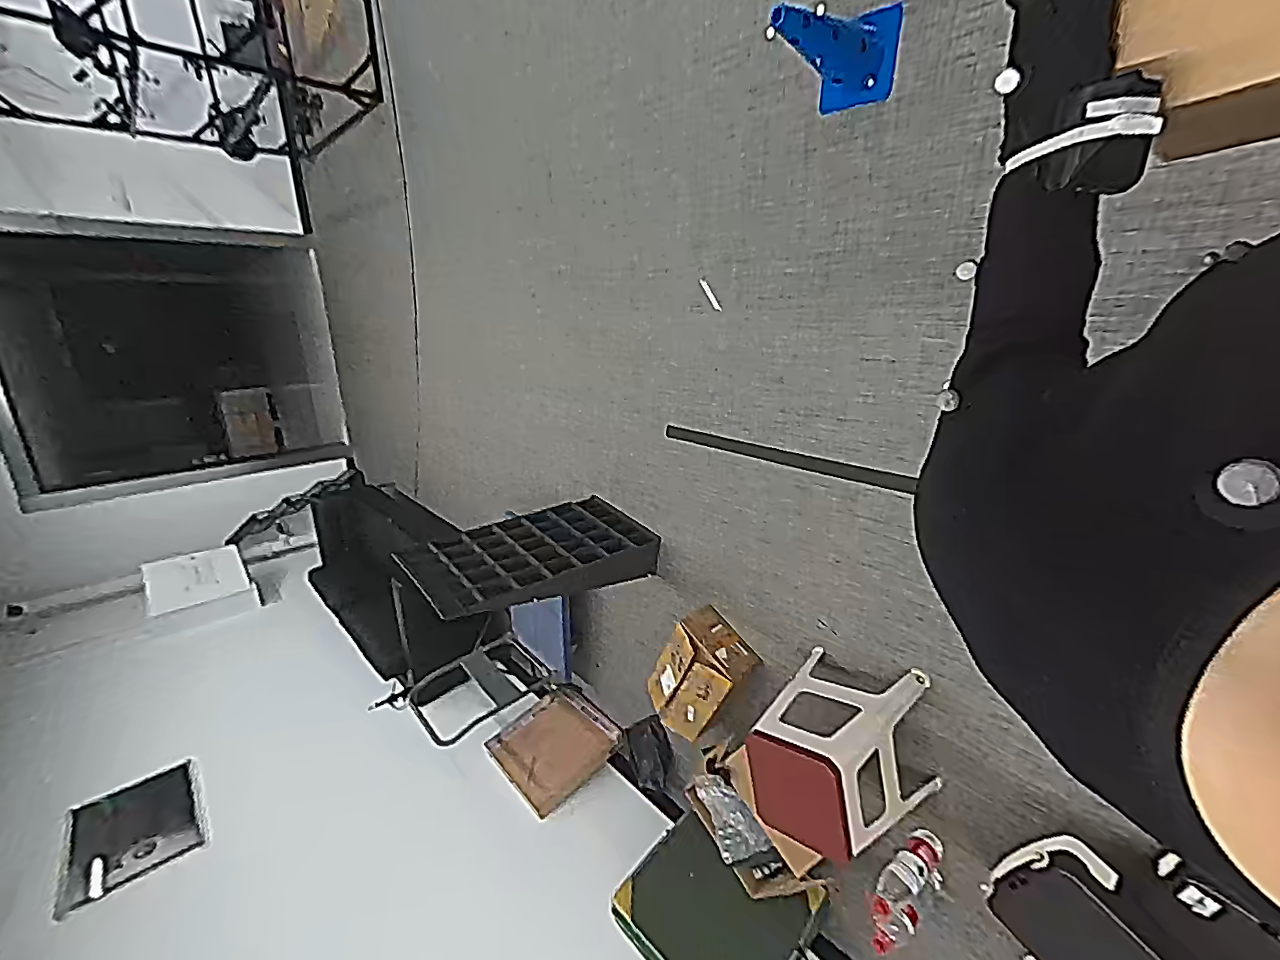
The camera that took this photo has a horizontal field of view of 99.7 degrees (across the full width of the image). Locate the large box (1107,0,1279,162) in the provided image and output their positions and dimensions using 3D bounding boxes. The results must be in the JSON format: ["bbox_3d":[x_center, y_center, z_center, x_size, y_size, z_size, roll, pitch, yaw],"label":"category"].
[{"bbox_3d":[0.558,-0.424,0.304,0.408,0.320,0.320,10,113,47],"label":"large box"}]

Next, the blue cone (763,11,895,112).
[{"bbox_3d":[0.430,-1.038,1.288,0.192,0.380,0.193,24,119,45],"label":"blue cone"}]
